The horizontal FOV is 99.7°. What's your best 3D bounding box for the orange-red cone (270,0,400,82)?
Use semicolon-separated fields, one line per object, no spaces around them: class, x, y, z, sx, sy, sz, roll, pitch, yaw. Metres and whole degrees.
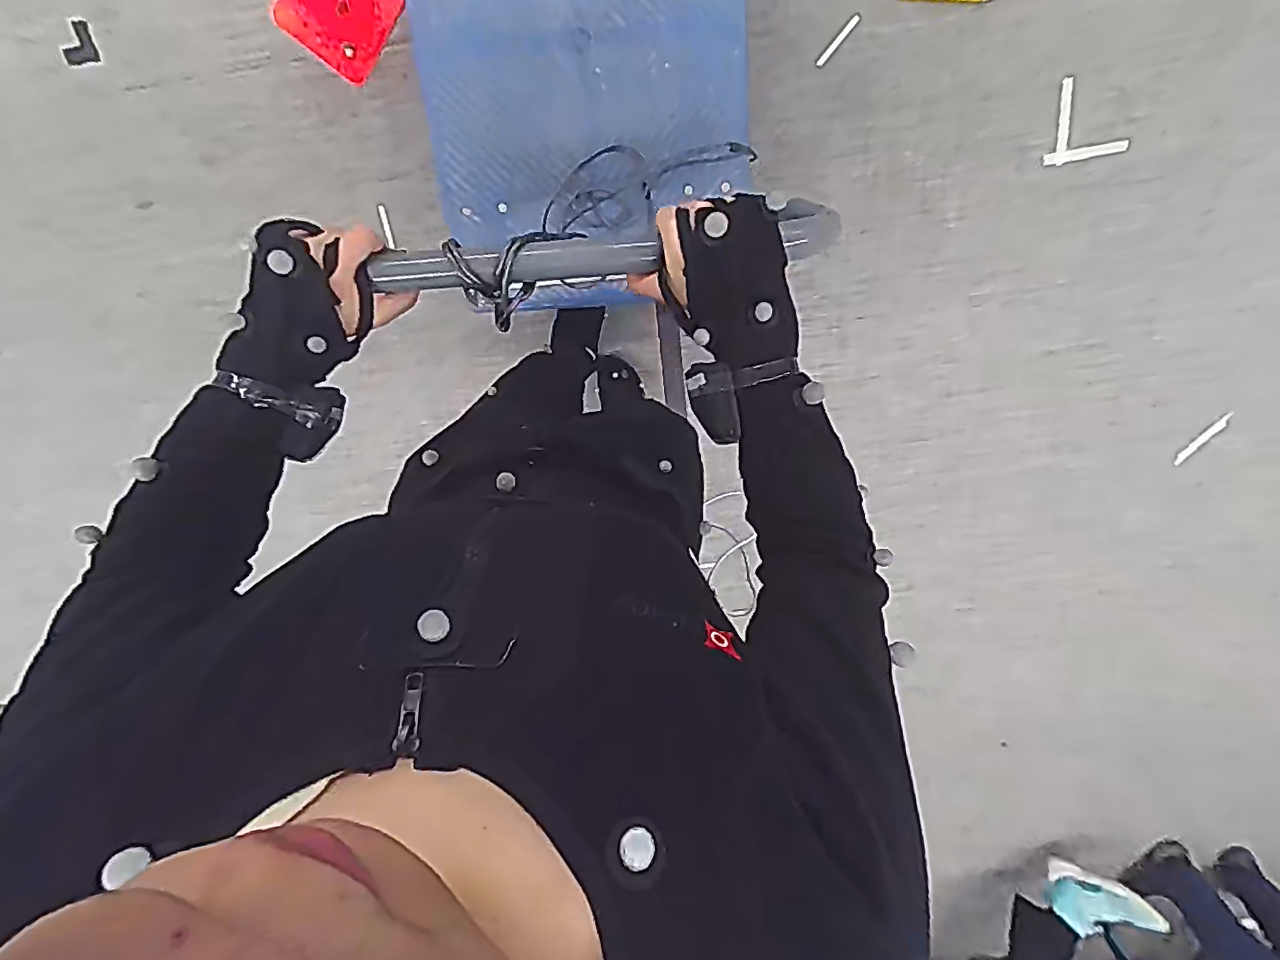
orange-red cone;-0.584;-0.861;0.884;0.198;0.360;0.199;36;105;-13
